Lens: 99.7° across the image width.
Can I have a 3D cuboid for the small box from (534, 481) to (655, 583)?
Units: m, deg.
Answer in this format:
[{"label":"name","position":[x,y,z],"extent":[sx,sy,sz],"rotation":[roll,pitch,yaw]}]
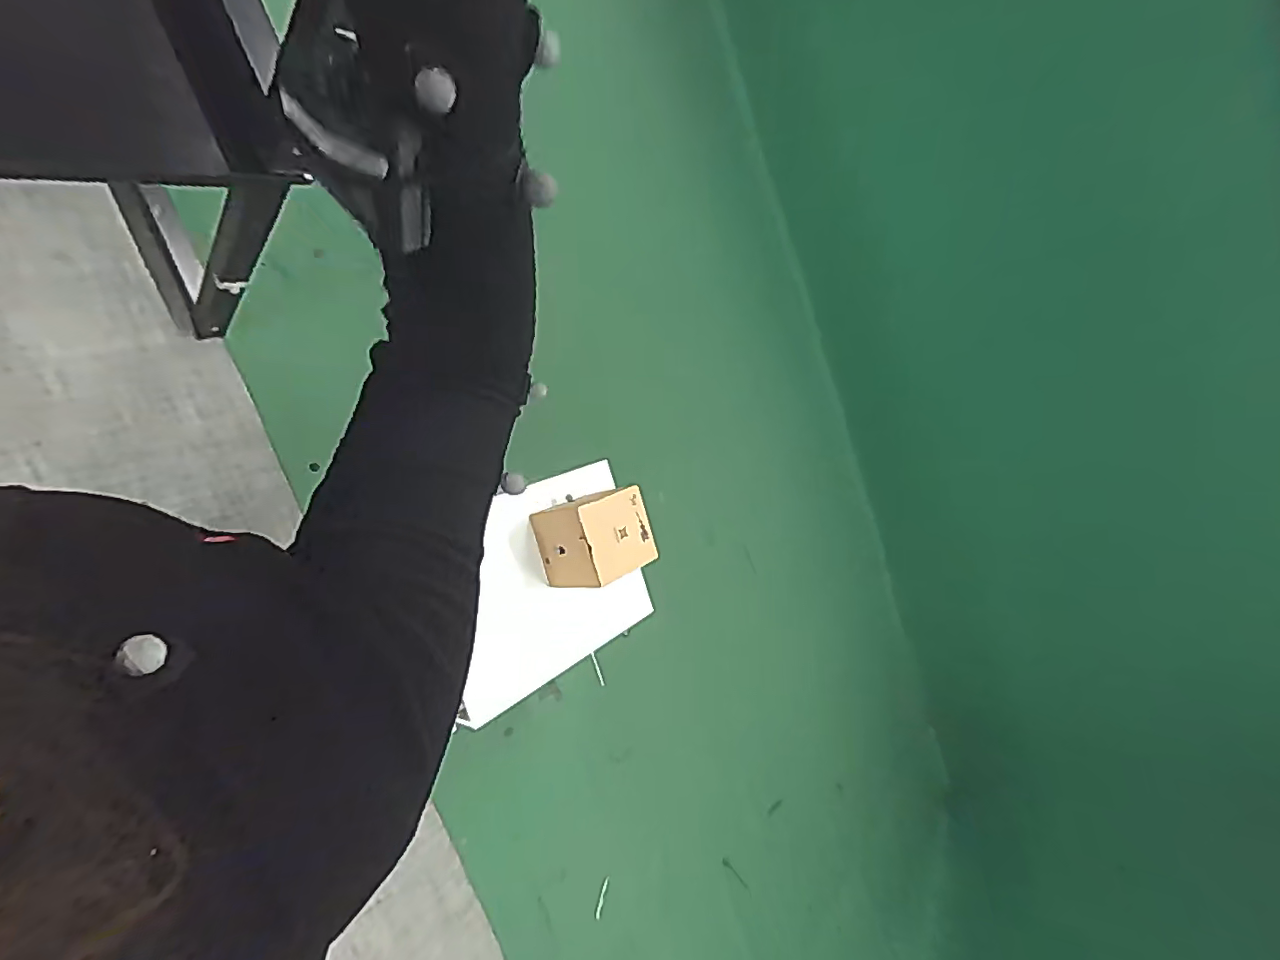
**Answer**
[{"label":"small box","position":[-0.102,0.110,1.135],"extent":[0.179,0.176,0.168],"rotation":[-20,97,-44]}]
